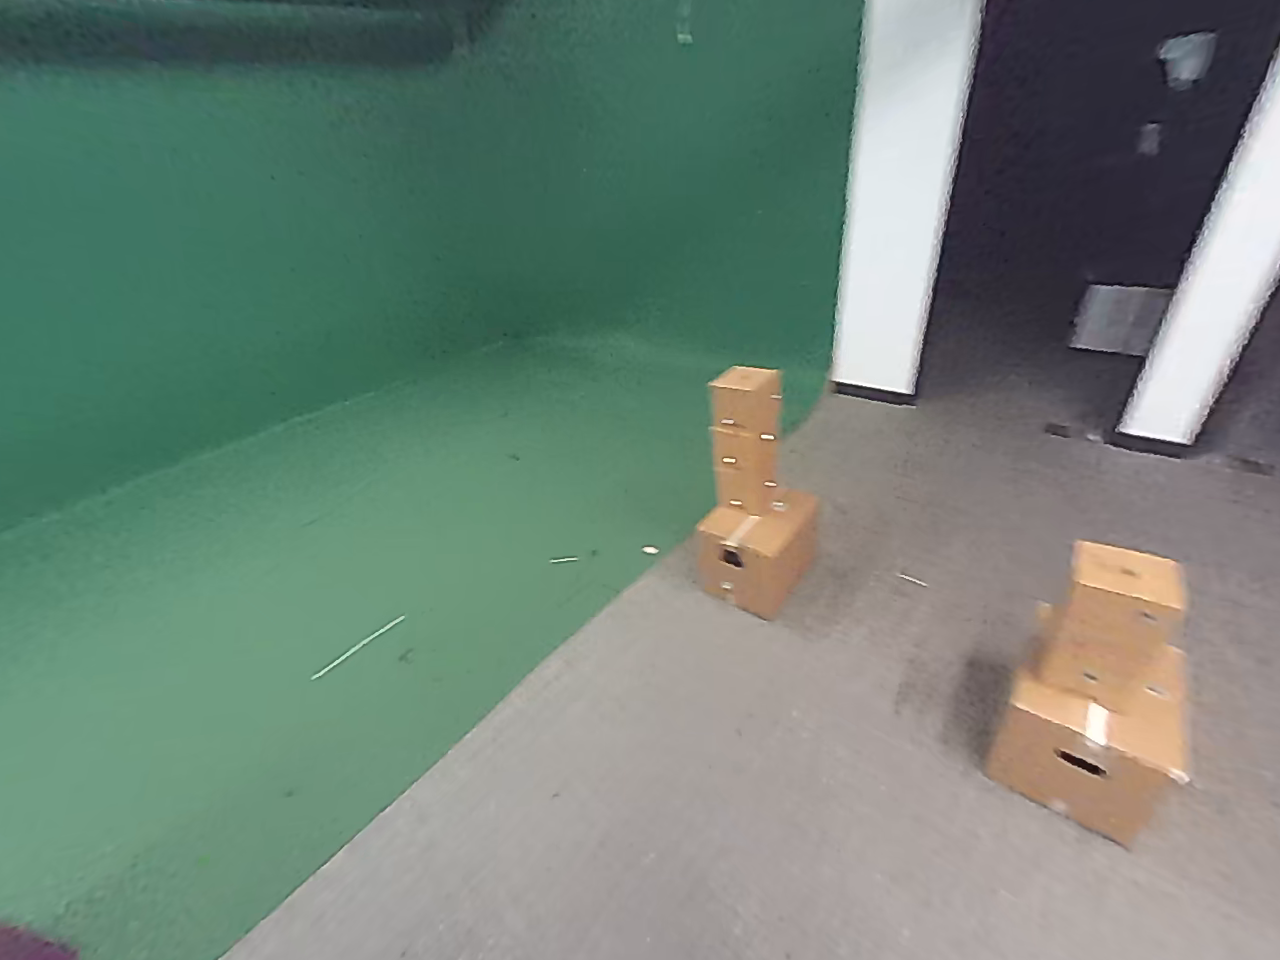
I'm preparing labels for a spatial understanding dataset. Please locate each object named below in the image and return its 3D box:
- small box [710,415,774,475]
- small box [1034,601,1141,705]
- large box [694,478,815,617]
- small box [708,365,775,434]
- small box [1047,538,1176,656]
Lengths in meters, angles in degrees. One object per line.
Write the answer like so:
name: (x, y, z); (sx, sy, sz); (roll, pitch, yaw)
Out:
small box: (0.370, -0.141, 1.953); (0.168, 0.176, 0.179); (16, 40, 36)
small box: (1.068, 0.399, 1.296); (0.168, 0.176, 0.179); (15, 40, 33)
large box: (0.447, 0.249, 2.089); (0.320, 0.320, 0.408); (19, 40, 35)
small box: (0.355, -0.281, 1.870); (0.168, 0.176, 0.179); (17, 41, 38)
small box: (1.044, 0.261, 1.207); (0.179, 0.176, 0.168); (15, 38, 33)
